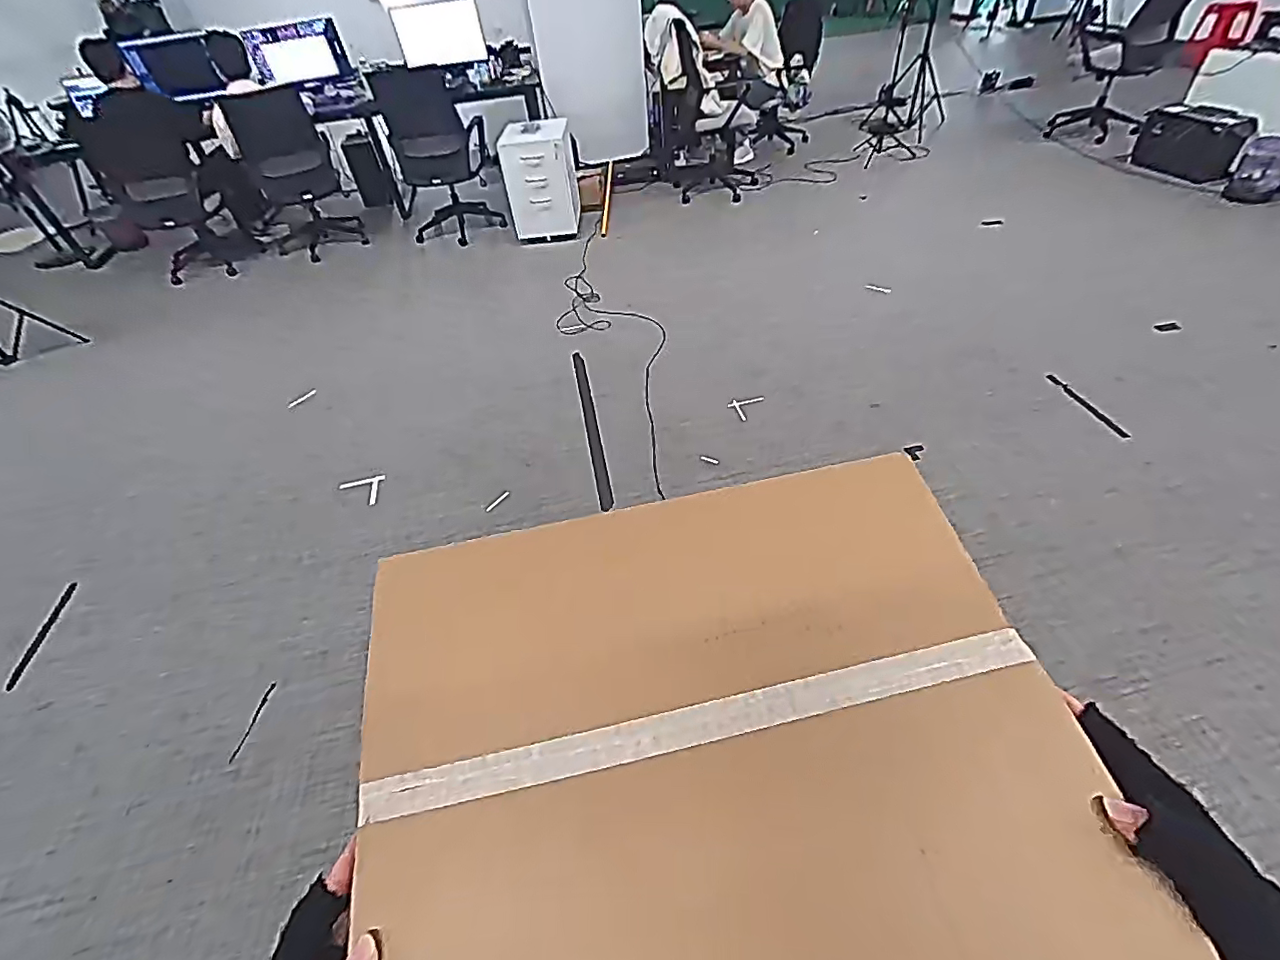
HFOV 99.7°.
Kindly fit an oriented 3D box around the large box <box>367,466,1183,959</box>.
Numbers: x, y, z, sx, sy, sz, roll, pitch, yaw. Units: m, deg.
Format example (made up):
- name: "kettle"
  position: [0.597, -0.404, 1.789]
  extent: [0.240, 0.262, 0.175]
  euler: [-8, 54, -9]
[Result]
- name: "large box"
  position: [0.051, 0.235, 0.450]
  extent: [0.408, 0.320, 0.320]
  euler: [-12, 55, -4]
